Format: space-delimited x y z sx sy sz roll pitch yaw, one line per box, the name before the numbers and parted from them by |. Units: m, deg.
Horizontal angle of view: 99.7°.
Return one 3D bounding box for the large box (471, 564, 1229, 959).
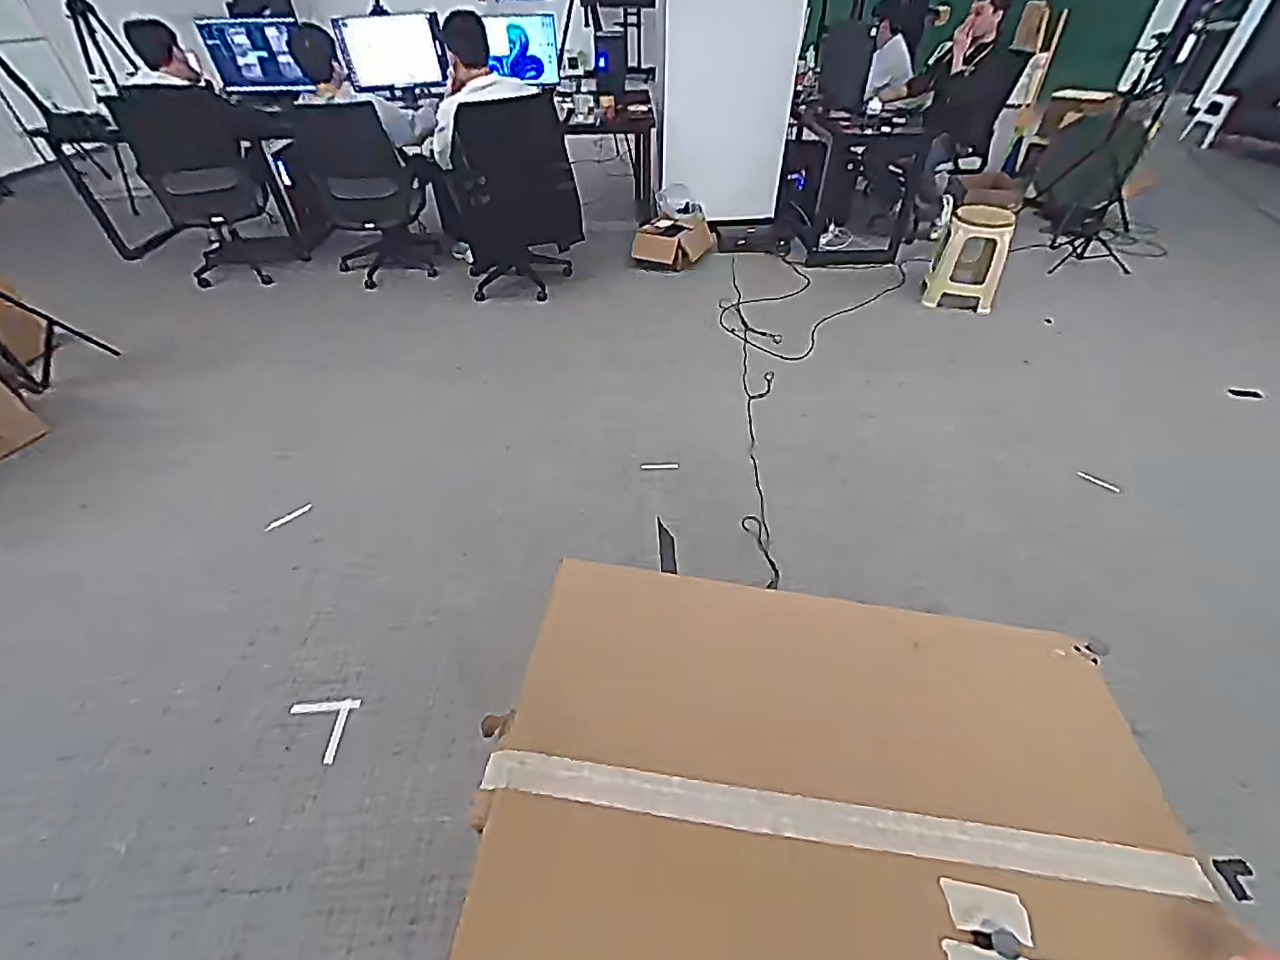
large box | 0.107 0.305 0.427 0.408 0.320 0.320 9 45 1
